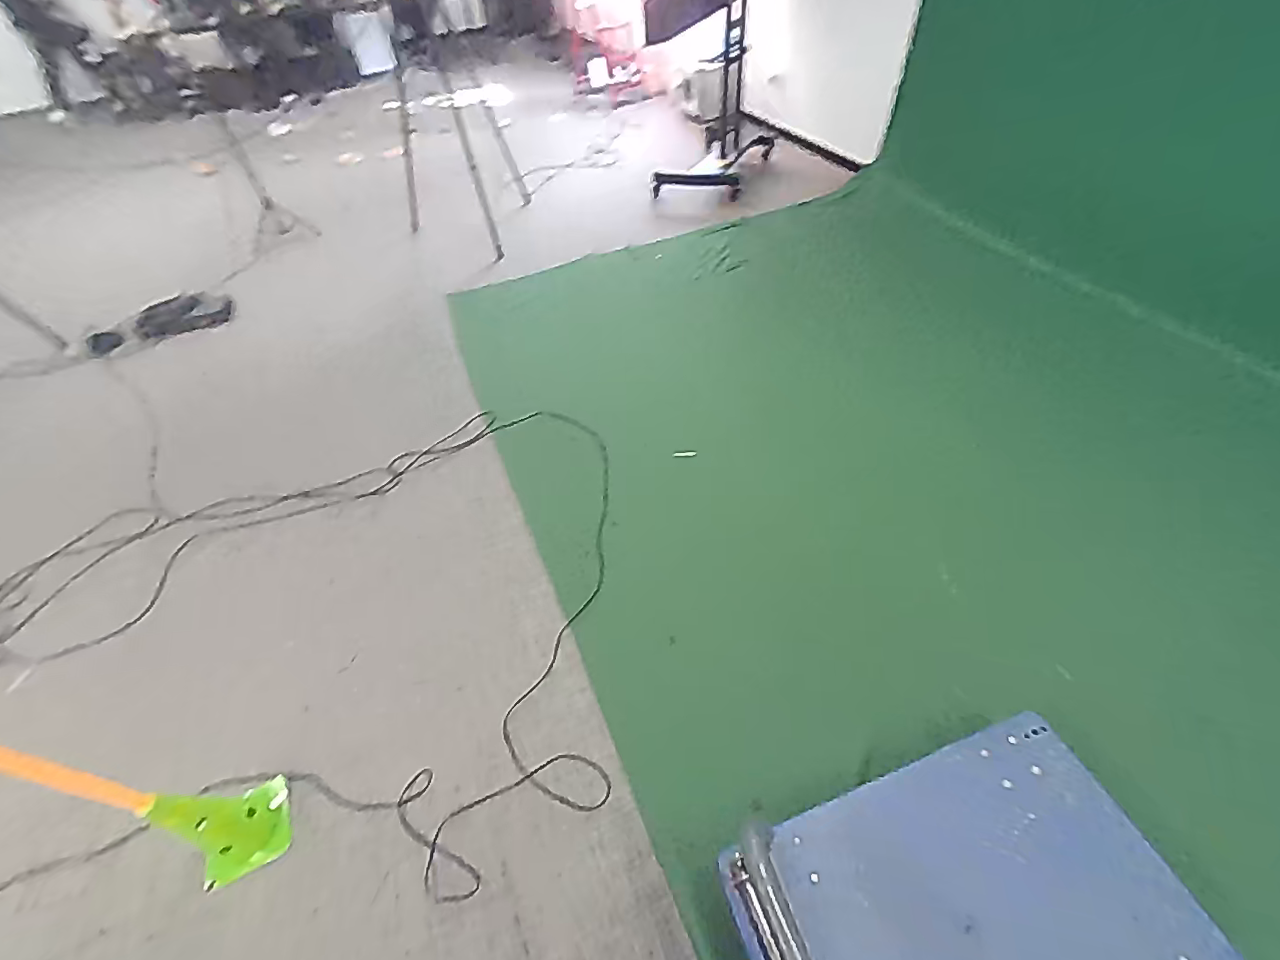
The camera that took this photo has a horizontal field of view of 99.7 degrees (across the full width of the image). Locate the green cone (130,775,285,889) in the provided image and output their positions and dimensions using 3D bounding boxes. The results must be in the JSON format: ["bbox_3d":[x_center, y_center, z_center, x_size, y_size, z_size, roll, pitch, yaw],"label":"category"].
[{"bbox_3d":[-1.045,0.796,1.281,0.200,0.368,0.202,-24,50,-15],"label":"green cone"}]
